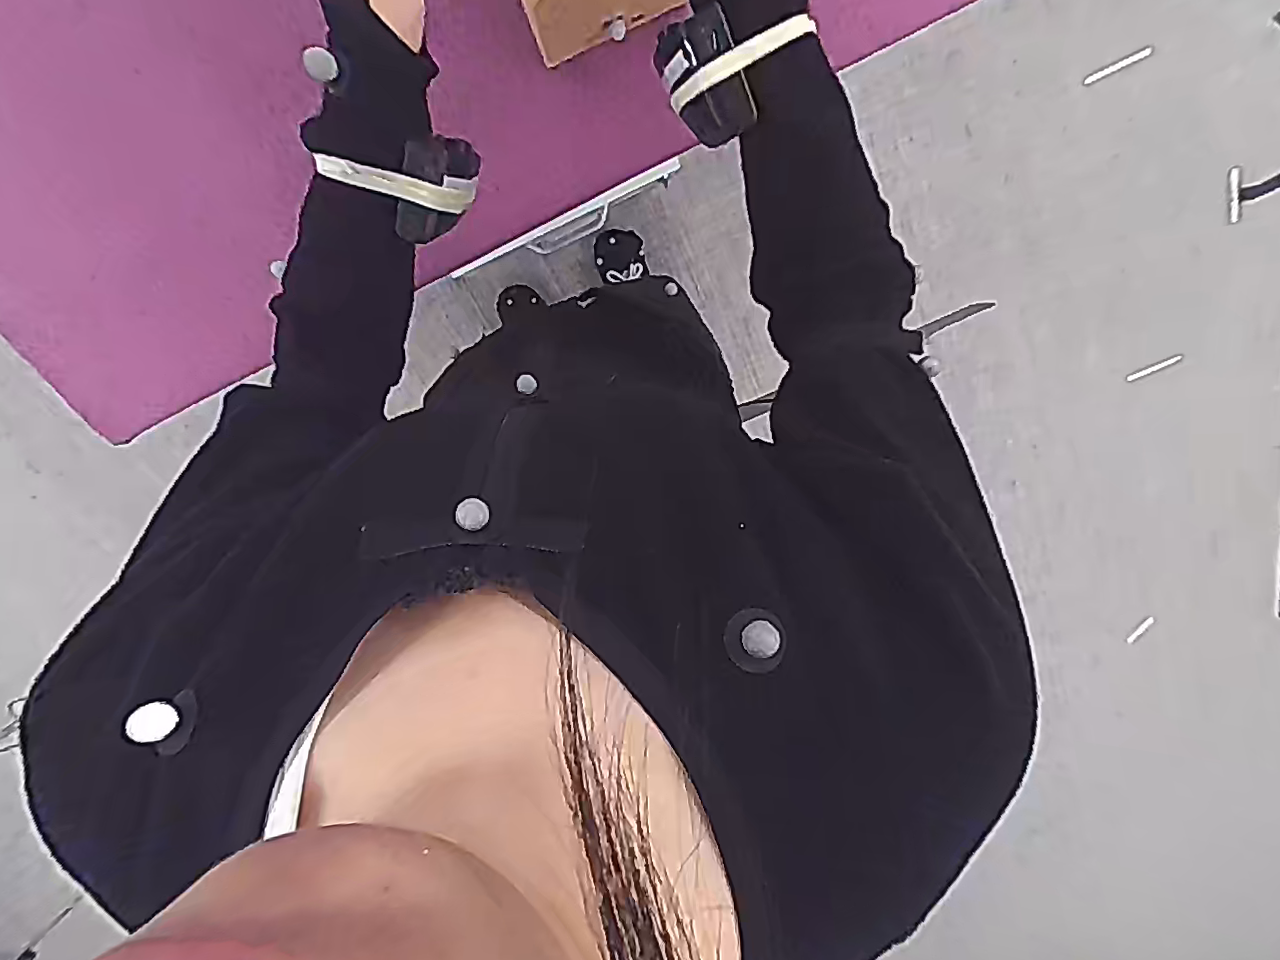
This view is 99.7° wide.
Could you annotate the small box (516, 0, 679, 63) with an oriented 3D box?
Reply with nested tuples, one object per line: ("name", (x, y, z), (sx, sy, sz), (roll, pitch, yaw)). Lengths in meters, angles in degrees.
("small box", (-0.054, -0.515, 0.468), (0.168, 0.176, 0.179), (-21, 113, 5))
